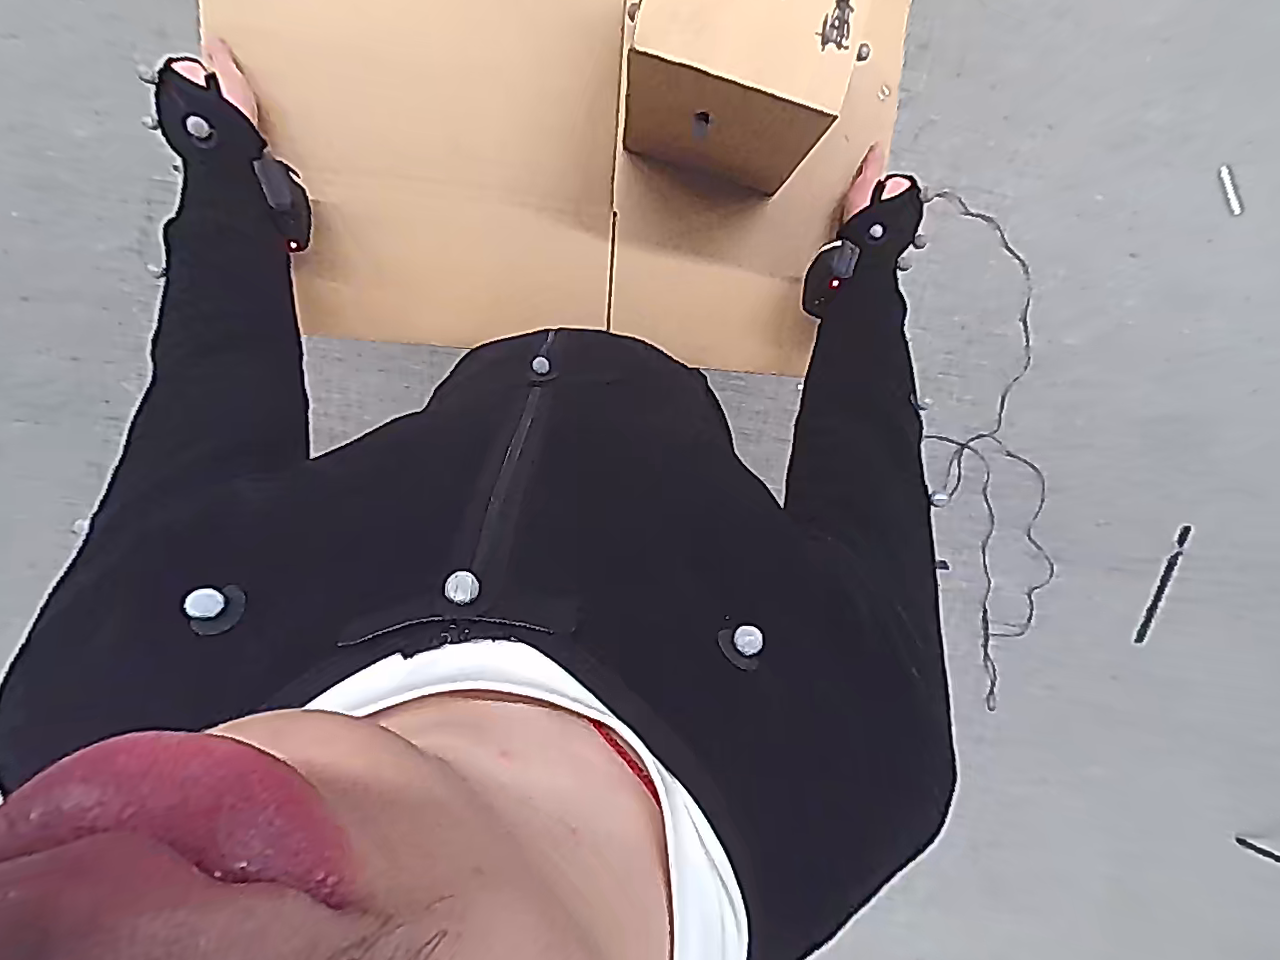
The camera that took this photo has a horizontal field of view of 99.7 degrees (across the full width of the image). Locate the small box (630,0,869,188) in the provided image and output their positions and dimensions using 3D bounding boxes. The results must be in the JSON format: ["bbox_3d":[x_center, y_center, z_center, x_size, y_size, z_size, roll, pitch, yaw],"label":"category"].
[{"bbox_3d":[0.092,-0.401,0.500,0.179,0.176,0.168,14,98,-5],"label":"small box"}]
